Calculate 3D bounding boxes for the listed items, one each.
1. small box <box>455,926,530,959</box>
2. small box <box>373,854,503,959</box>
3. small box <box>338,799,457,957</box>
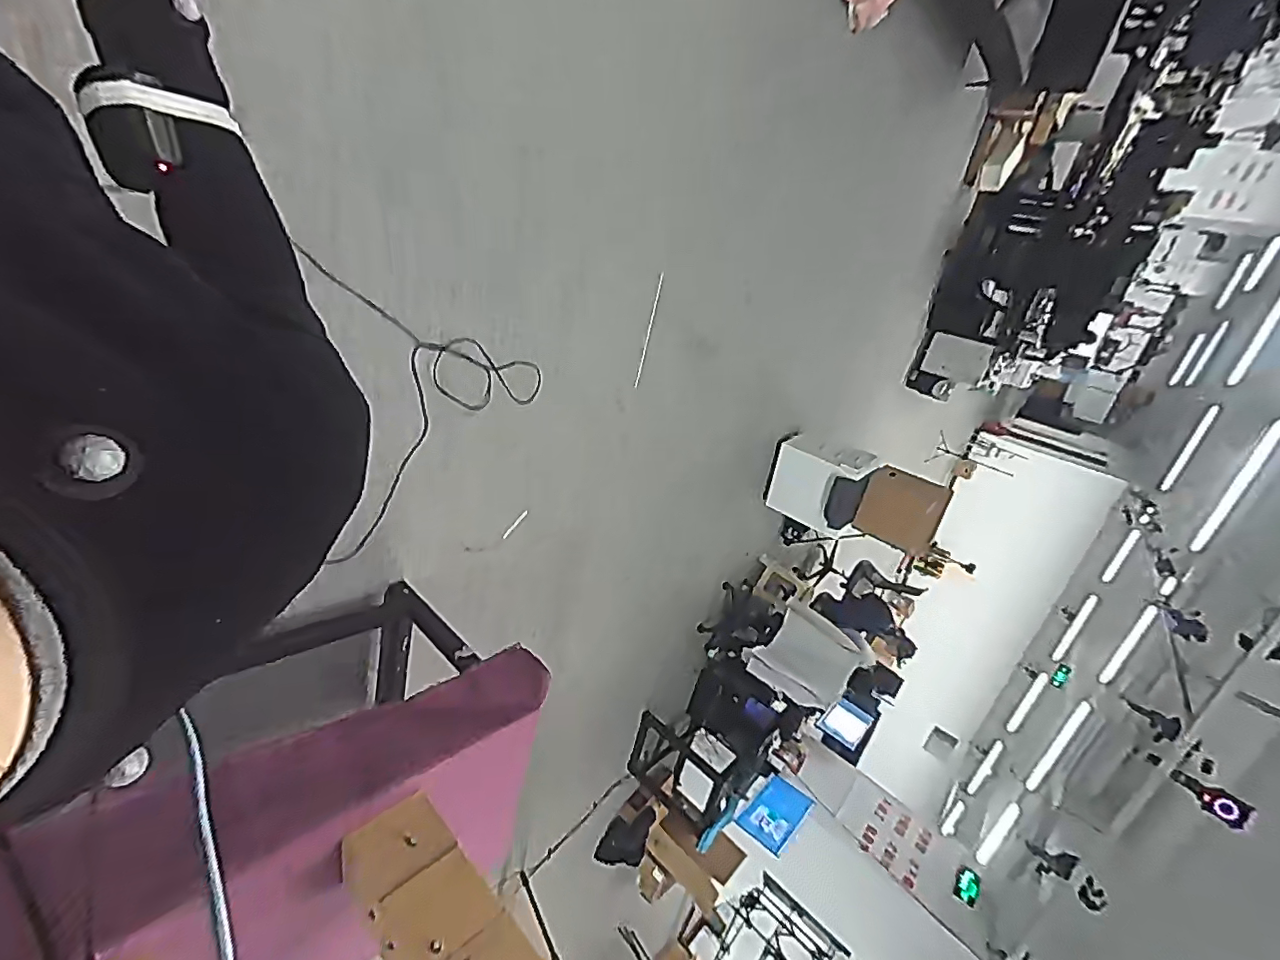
[{"bbox_3d":[-0.282,0.966,0.973,0.168,0.176,0.179,-10,123,-47],"label":"small box"},{"bbox_3d":[-0.398,0.896,1.064,0.179,0.176,0.168,-13,125,-47],"label":"small box"},{"bbox_3d":[-0.518,0.834,1.155,0.179,0.176,0.168,-14,125,-48],"label":"small box"}]
